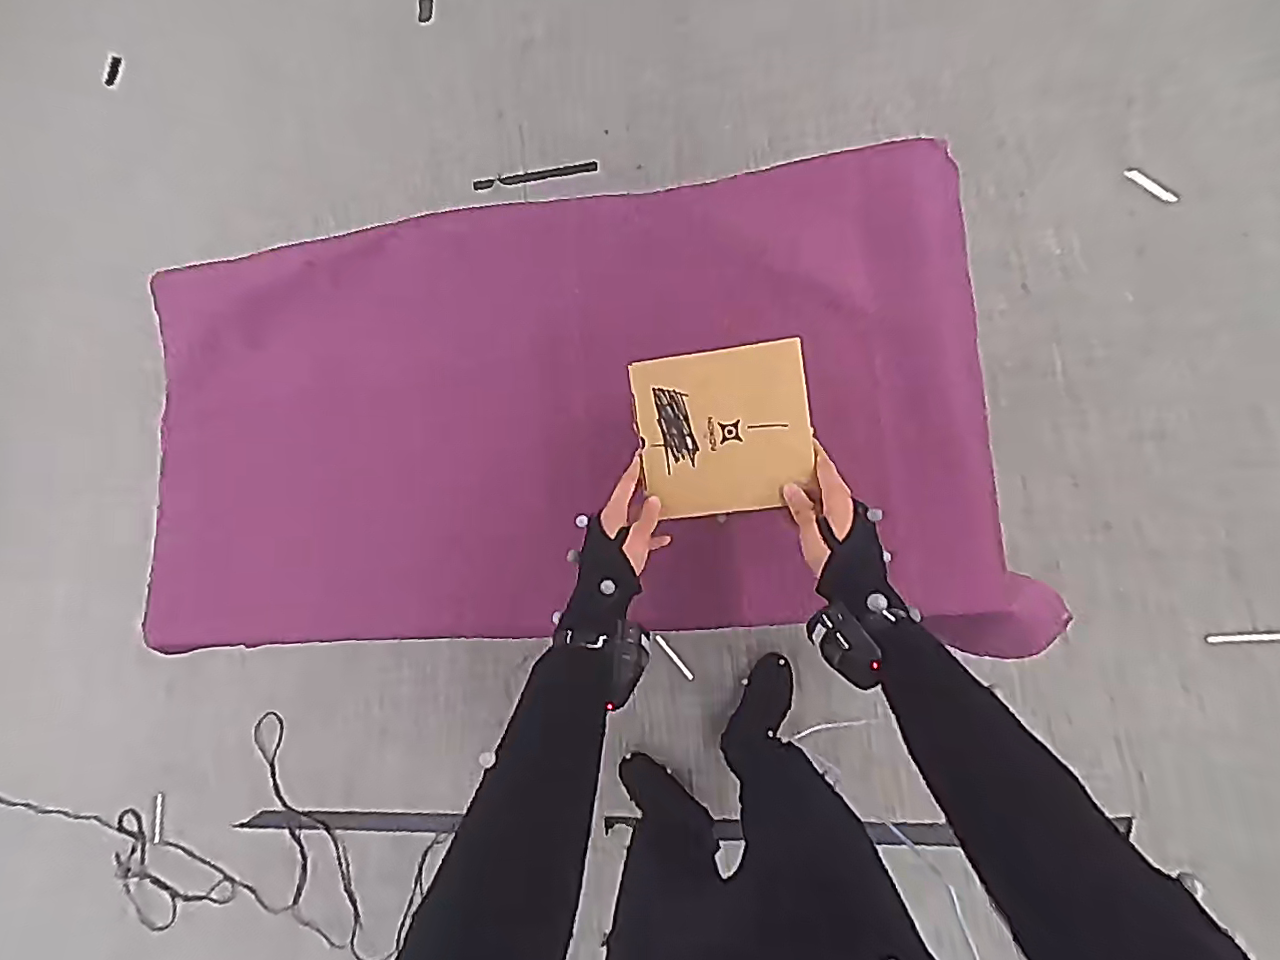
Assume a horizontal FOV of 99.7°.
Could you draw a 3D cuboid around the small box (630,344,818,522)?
[{"bbox_3d":[0.096,-0.045,0.623,0.179,0.176,0.168,-7,90,10],"label":"small box"}]
